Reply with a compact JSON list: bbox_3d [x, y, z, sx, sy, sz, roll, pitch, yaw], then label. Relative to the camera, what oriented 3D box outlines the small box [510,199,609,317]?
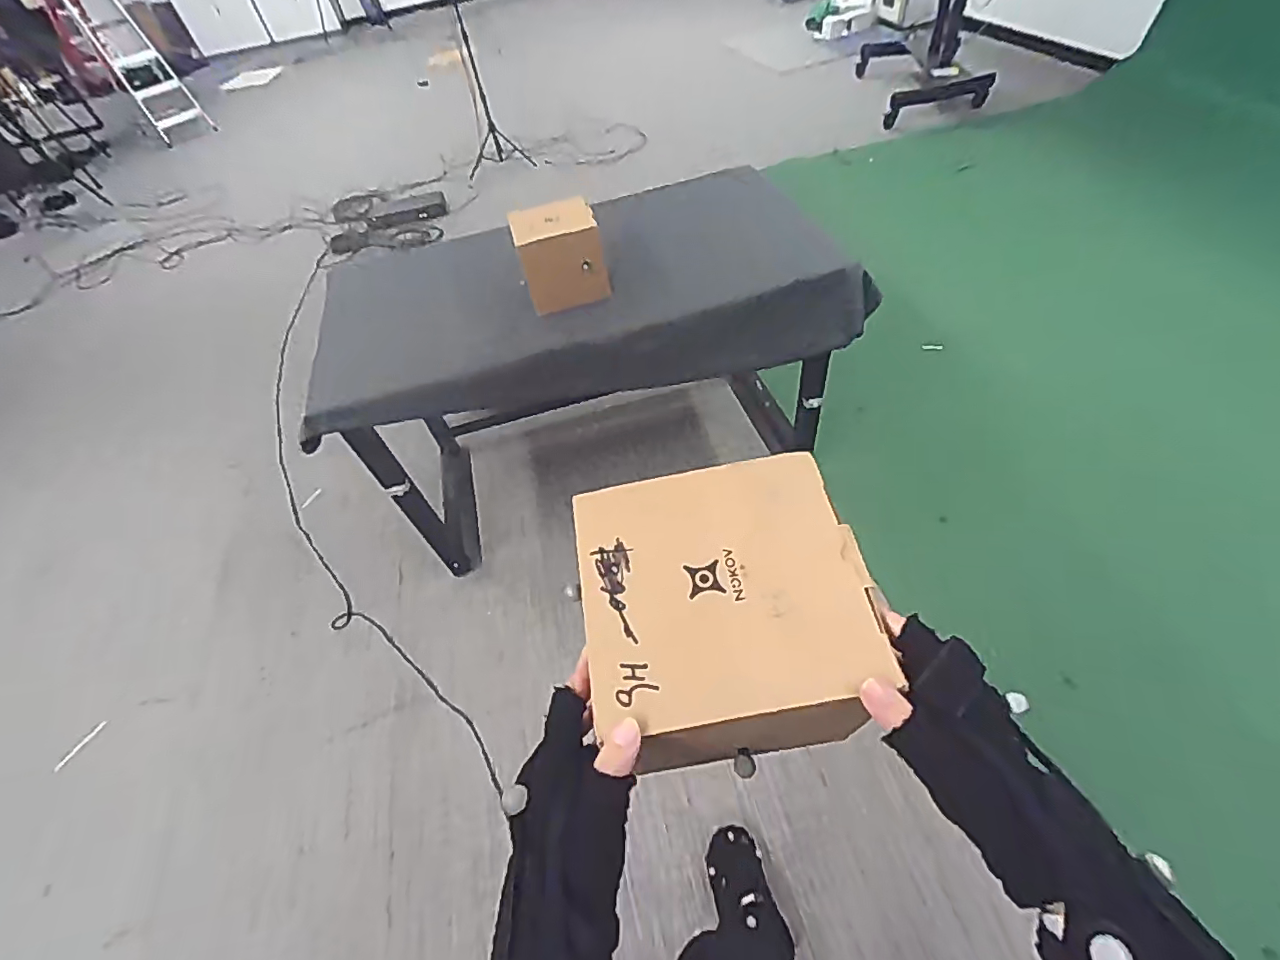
[{"bbox_3d":[-0.174,-0.496,1.215,0.179,0.176,0.168,-18,49,-4],"label":"small box"}]
